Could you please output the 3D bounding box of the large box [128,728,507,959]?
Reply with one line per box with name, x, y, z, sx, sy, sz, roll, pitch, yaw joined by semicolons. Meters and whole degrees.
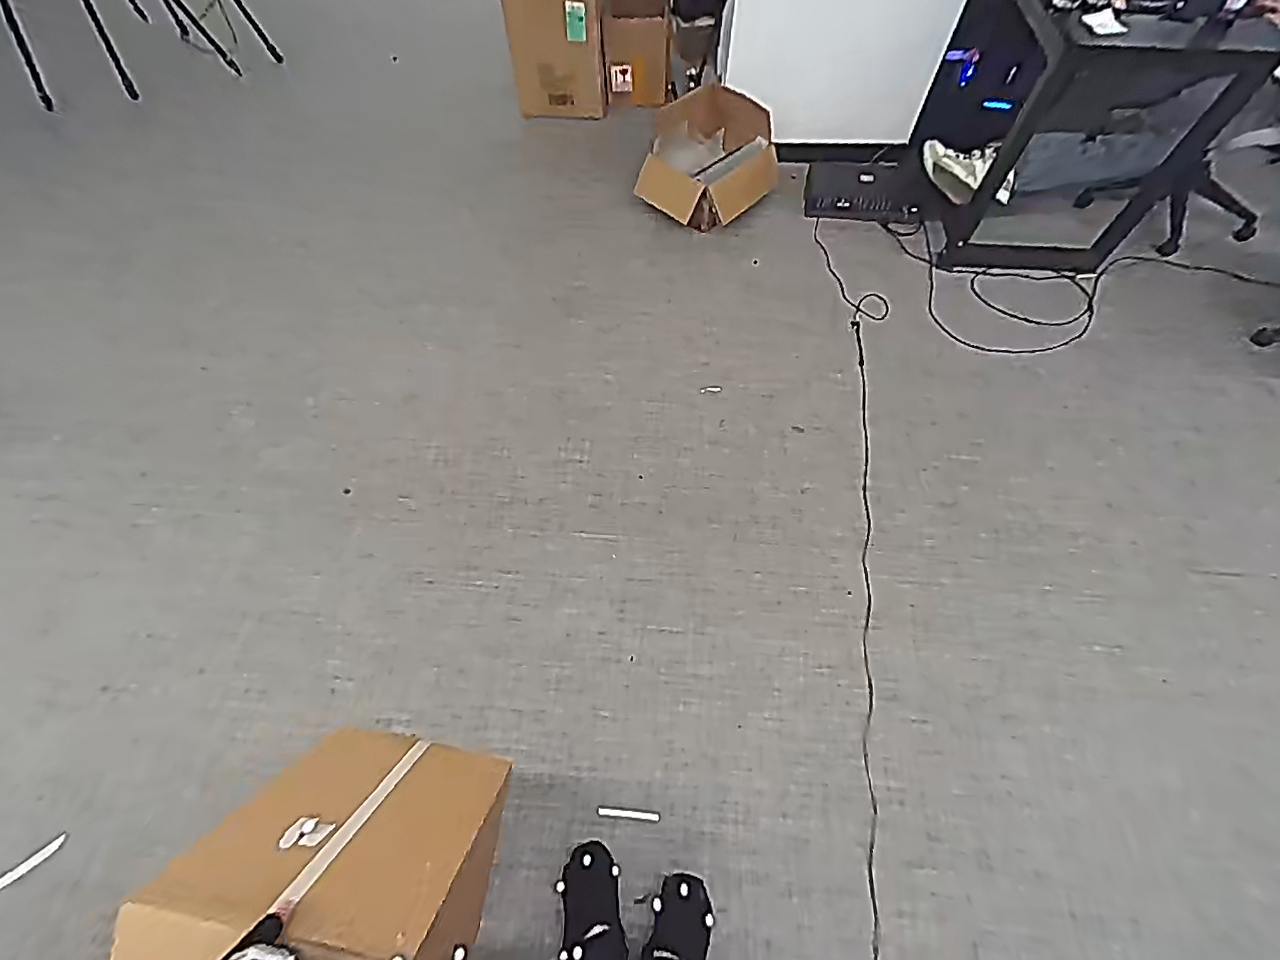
large box;-0.422;0.630;0.777;0.320;0.408;0.320;12;91;2
